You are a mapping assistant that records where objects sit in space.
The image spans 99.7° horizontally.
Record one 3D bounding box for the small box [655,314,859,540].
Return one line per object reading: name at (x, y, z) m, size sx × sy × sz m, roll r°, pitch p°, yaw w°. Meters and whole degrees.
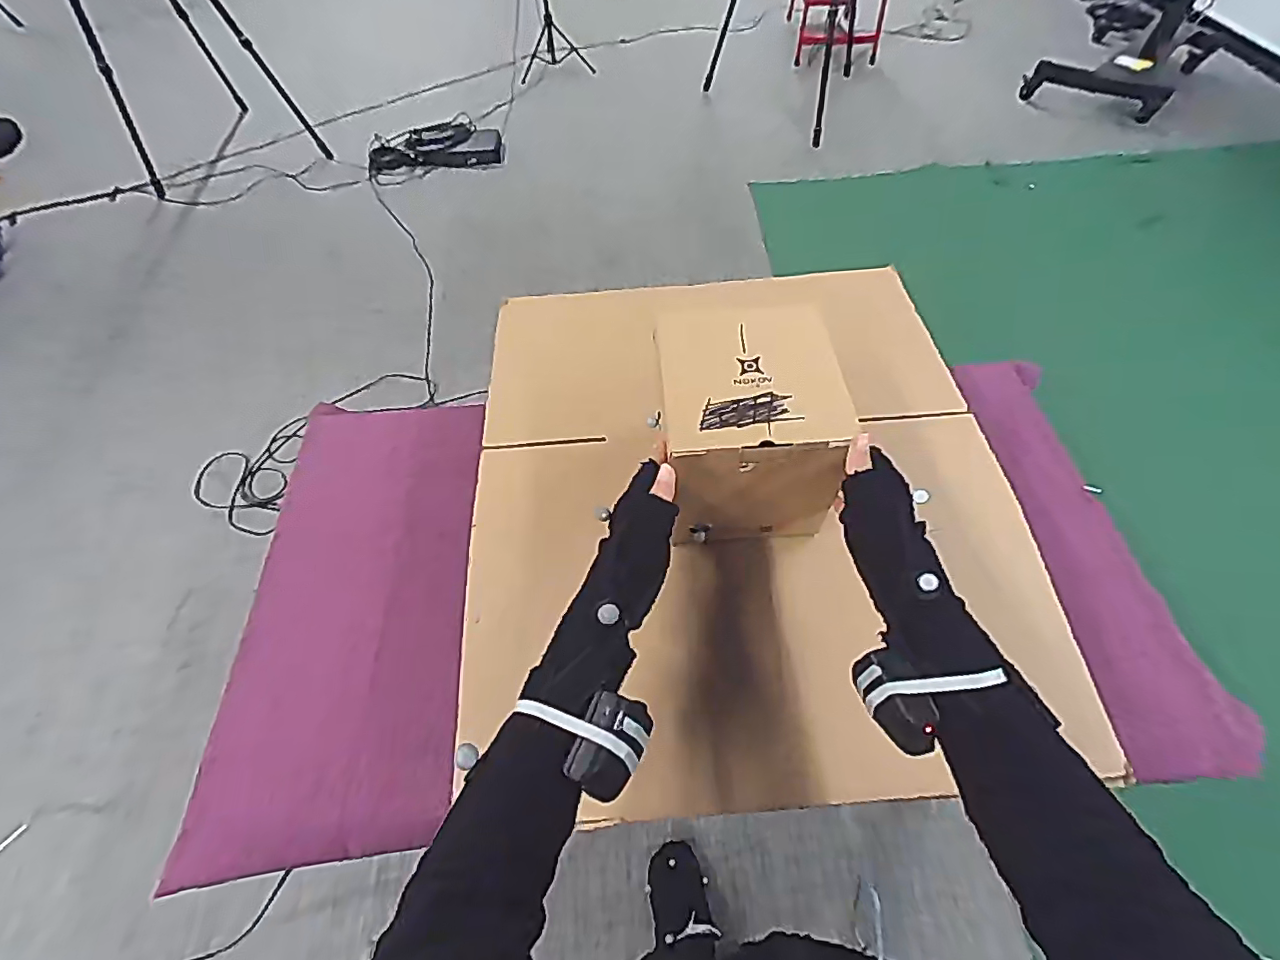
small box at (0.105, -0.046, 0.566) m, size 0.168 × 0.176 × 0.179 m, roll -4°, pitch 56°, yaw 0°
